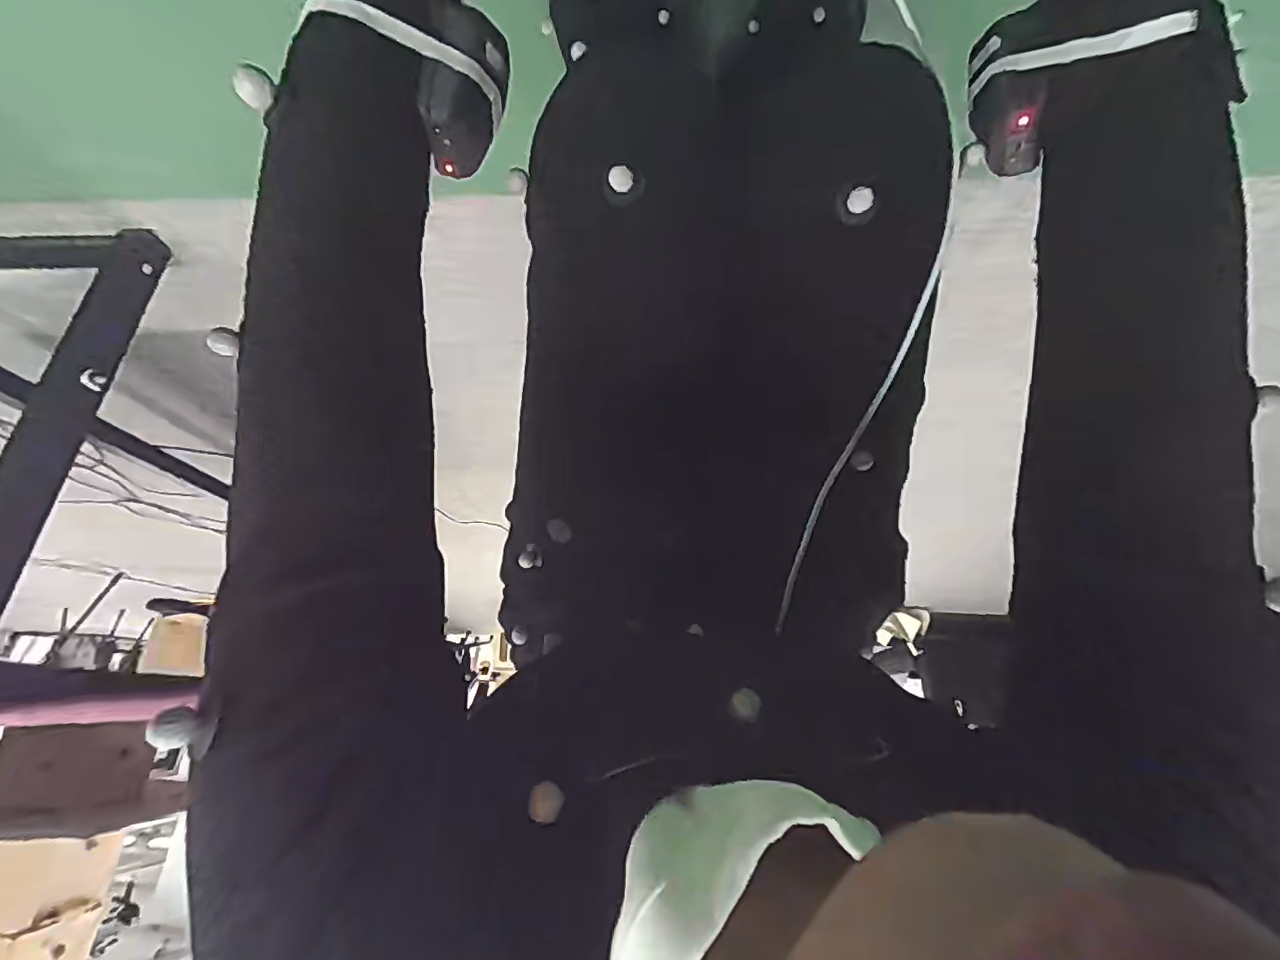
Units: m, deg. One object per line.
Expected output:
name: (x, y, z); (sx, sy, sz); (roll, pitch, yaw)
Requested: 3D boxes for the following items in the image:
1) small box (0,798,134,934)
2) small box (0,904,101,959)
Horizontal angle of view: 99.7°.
small box: (-1.111, 0.699, 0.999); (0.179, 0.176, 0.168); (3, 158, 2)
small box: (-1.115, 0.850, 0.937); (0.179, 0.176, 0.168); (2, 157, 4)
